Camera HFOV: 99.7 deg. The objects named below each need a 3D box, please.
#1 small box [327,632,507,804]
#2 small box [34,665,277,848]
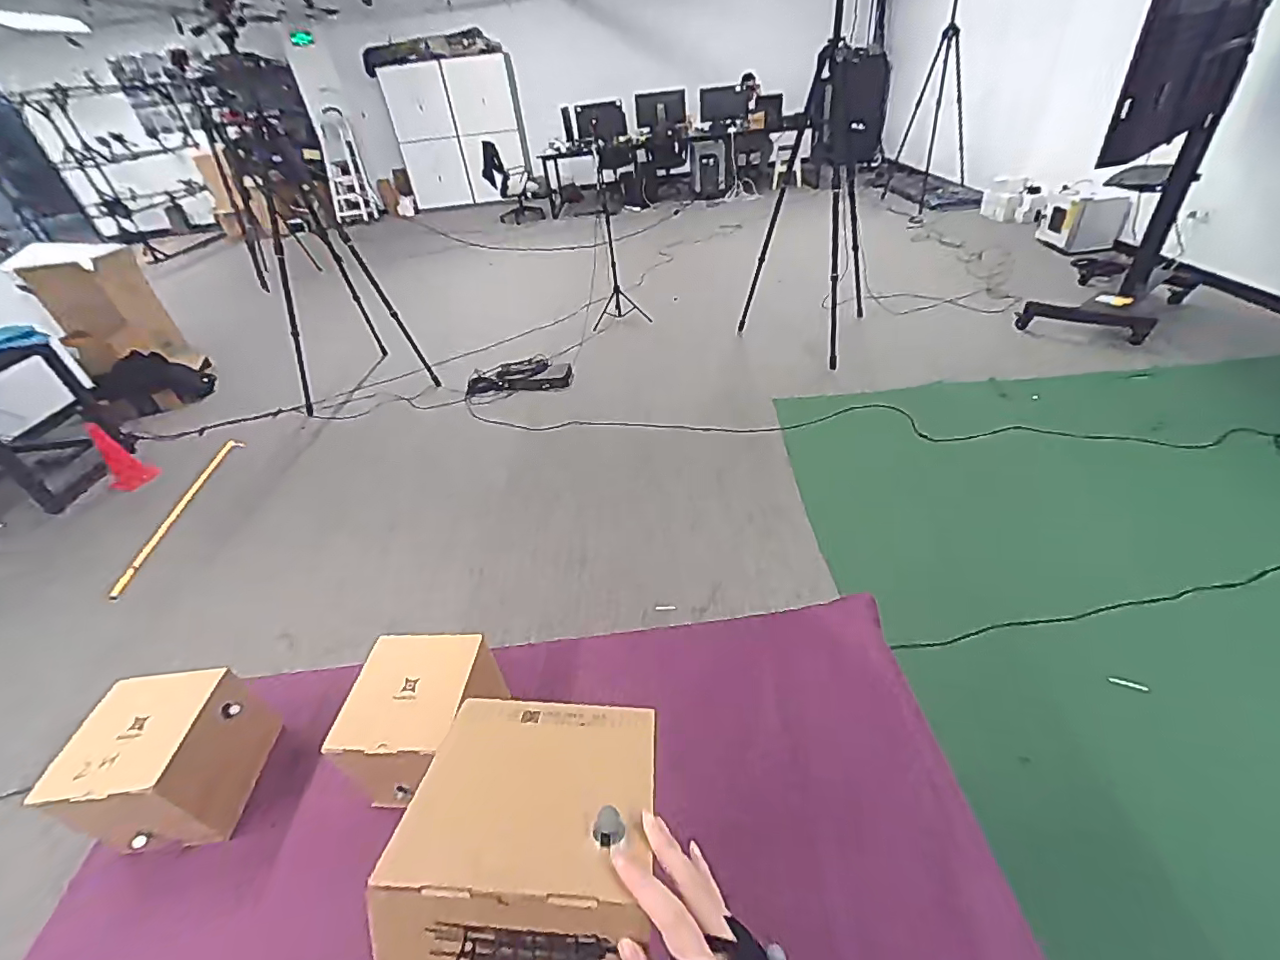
[{"bbox_3d":[-0.308,0.346,0.795,0.168,0.176,0.179,-3,39,7],"label":"small box"},{"bbox_3d":[-0.673,0.399,0.786,0.168,0.176,0.179,-7,38,1],"label":"small box"}]
